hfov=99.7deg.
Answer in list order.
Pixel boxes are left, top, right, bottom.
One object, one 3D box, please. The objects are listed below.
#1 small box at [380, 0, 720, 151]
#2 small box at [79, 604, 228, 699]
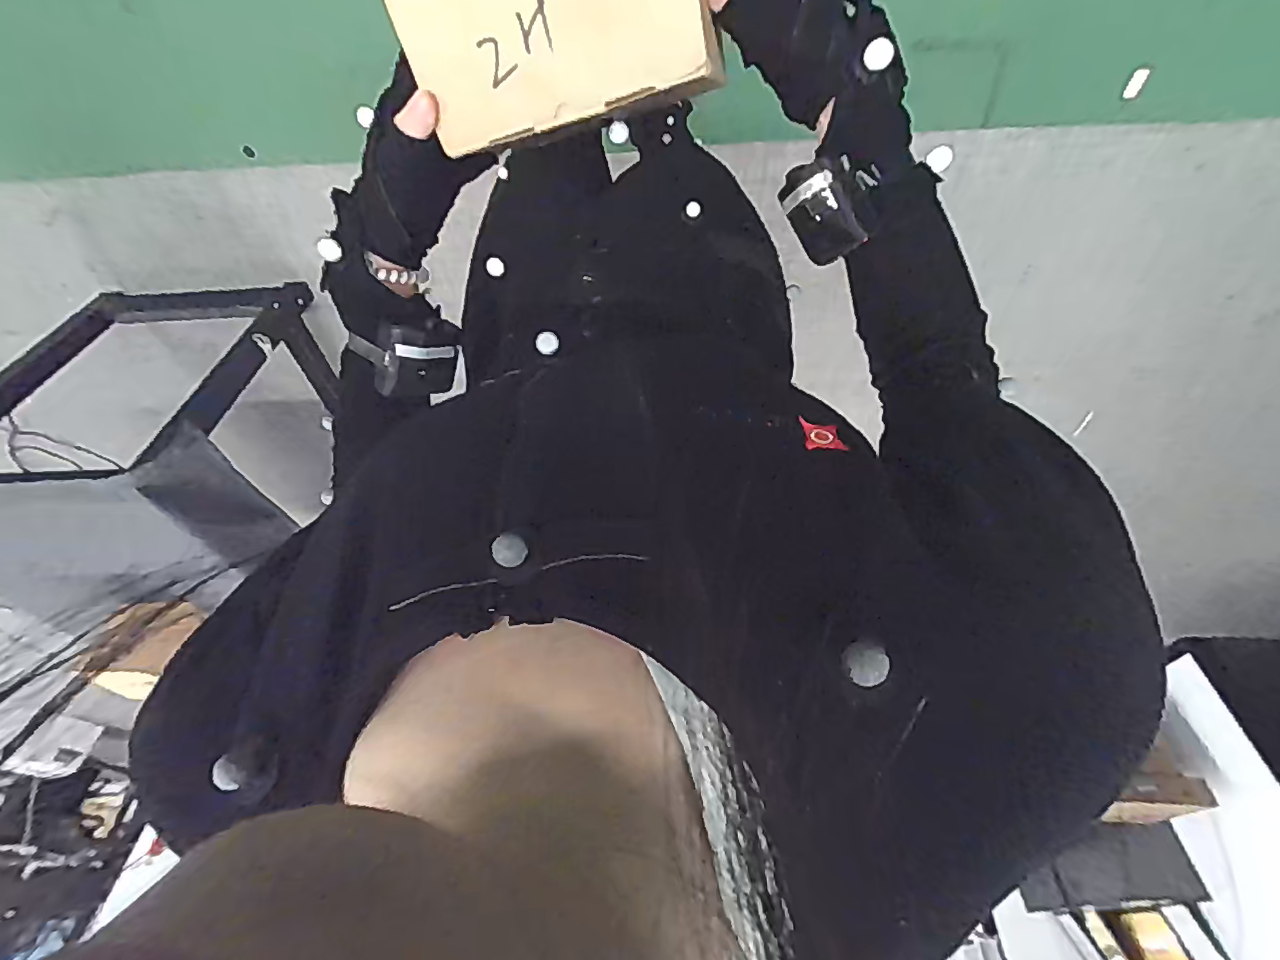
[{"bbox_3d":[-0.049,-0.320,0.329,0.168,0.176,0.179,-6,121,18],"label":"small box"},{"bbox_3d":[-1.121,0.403,1.271,0.179,0.176,0.168,-2,139,5],"label":"small box"}]
